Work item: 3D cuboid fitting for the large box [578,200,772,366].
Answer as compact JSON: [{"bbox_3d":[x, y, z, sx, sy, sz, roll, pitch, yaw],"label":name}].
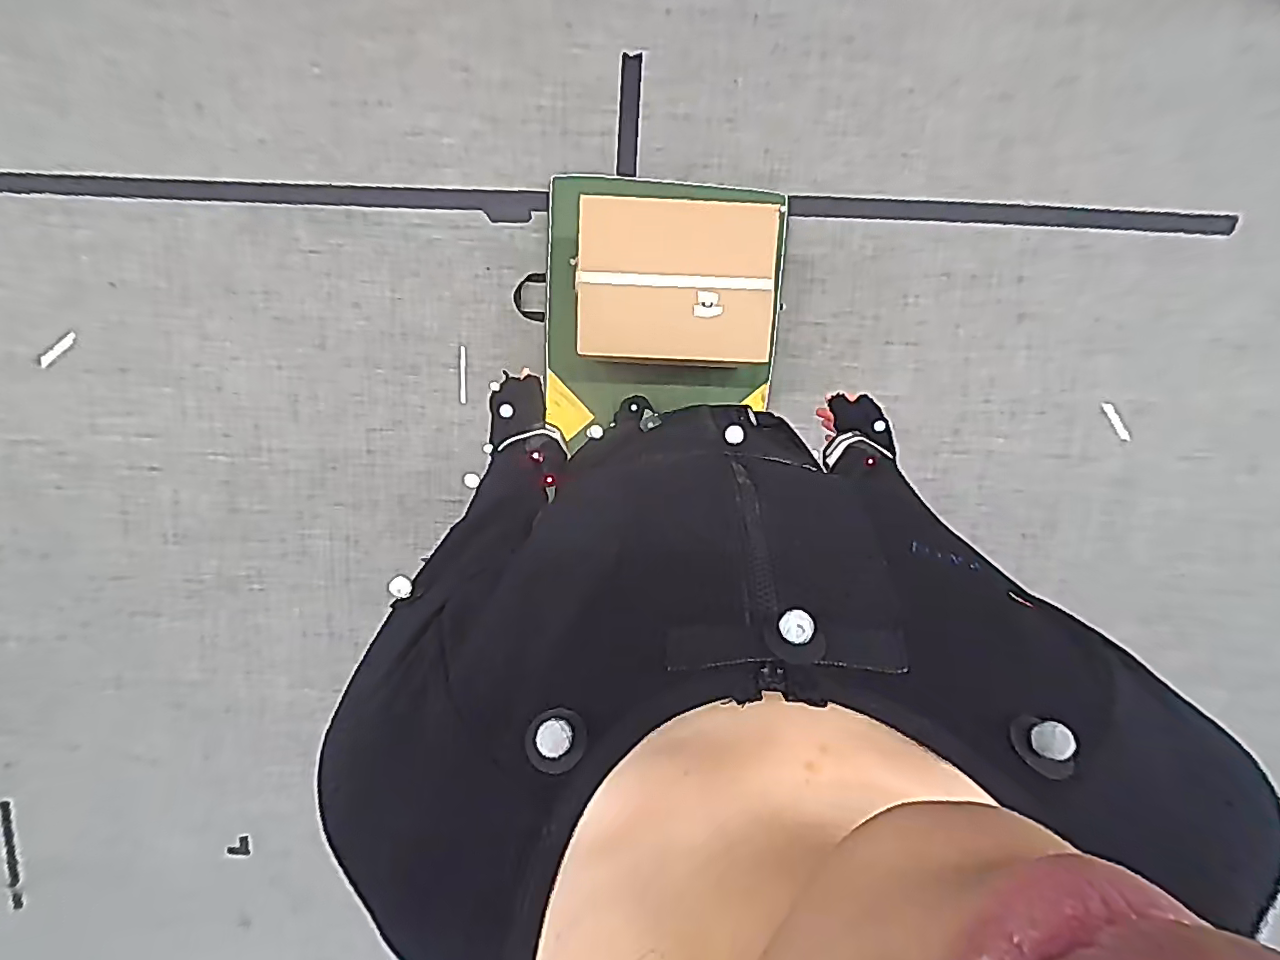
[{"bbox_3d":[0.065,-0.434,1.268,0.408,0.320,0.320,1,100,-2],"label":"large box"}]
